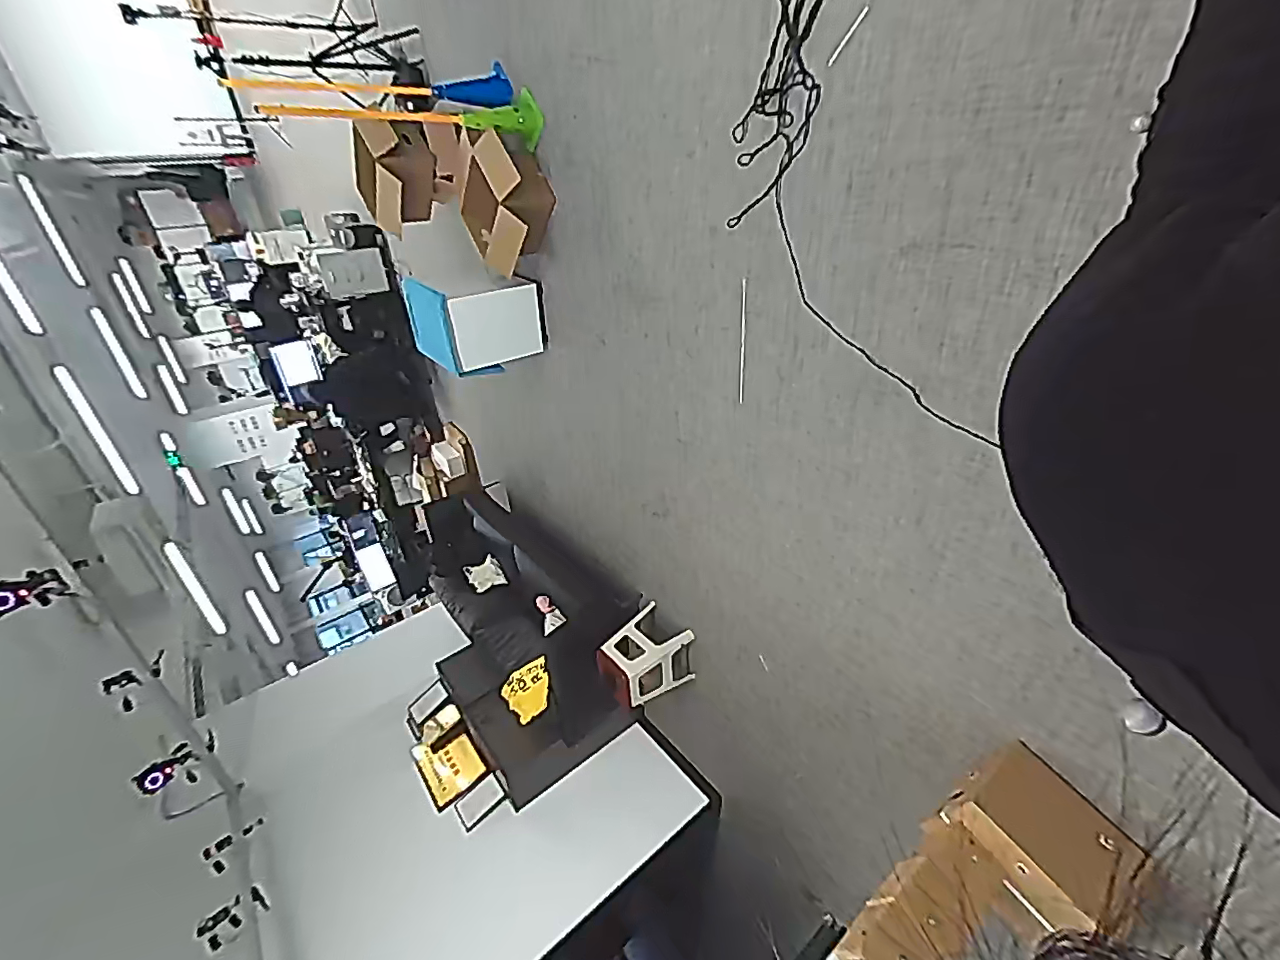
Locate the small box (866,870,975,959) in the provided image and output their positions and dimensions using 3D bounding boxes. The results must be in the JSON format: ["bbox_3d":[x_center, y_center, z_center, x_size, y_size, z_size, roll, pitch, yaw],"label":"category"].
[{"bbox_3d":[0.778,1.225,1.504,0.179,0.176,0.168,47,145,28],"label":"small box"}]

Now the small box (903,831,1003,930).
[{"bbox_3d":[0.912,1.174,1.581,0.168,0.176,0.179,46,145,30],"label":"small box"}]
